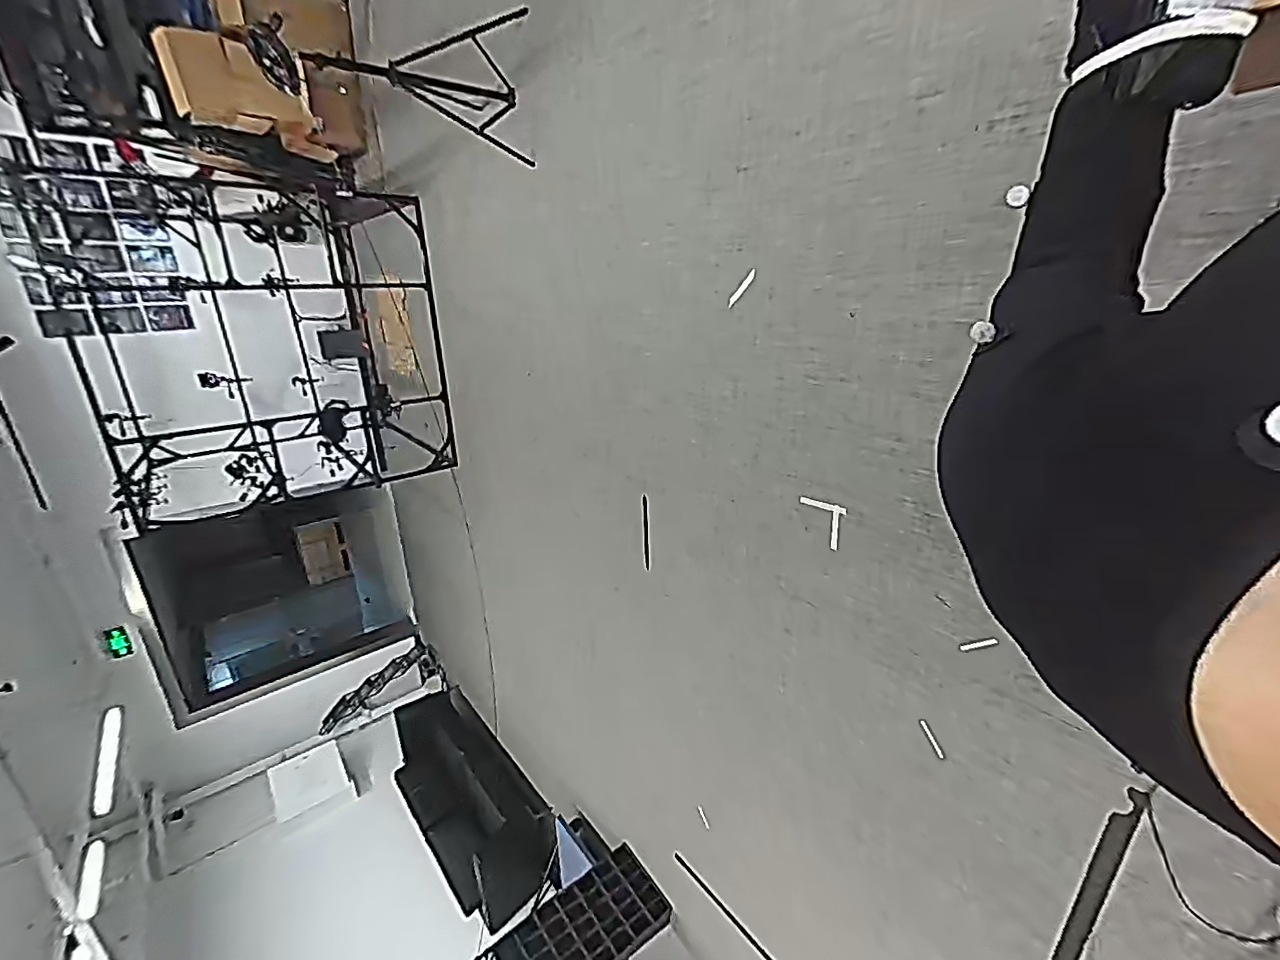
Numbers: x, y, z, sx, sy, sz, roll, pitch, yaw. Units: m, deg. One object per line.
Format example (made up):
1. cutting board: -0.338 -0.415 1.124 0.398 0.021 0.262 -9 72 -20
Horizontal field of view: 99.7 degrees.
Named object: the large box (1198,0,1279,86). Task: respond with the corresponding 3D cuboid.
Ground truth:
1. large box: 0.597 -0.460 0.262 0.408 0.320 0.320 15 119 47
